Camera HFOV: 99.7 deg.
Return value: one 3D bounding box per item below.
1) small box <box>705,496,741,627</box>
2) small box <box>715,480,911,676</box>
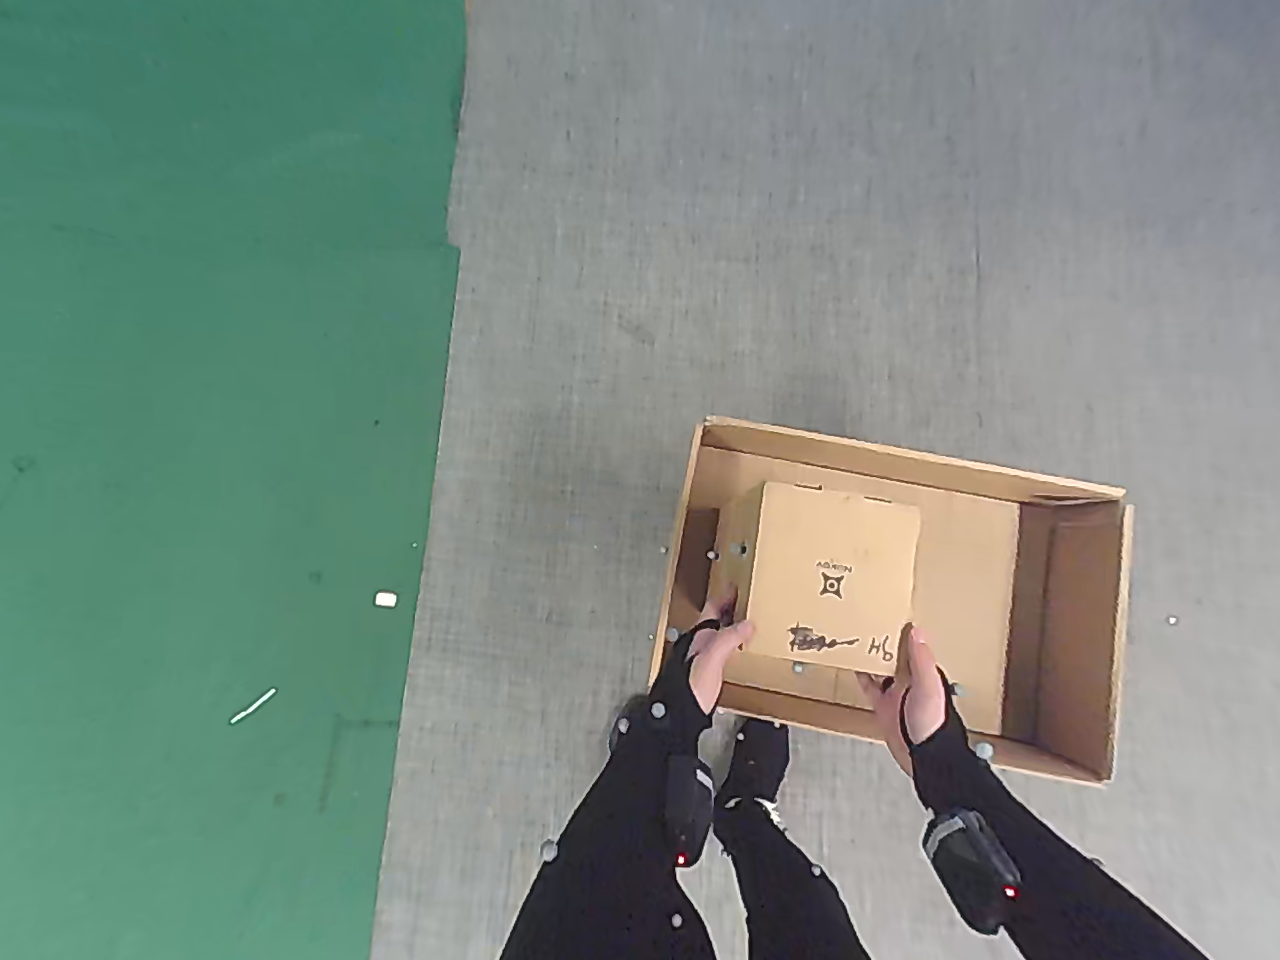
[{"bbox_3d":[0.191,0.129,0.793,0.168,0.176,0.179,9,83,3],"label":"small box"},{"bbox_3d":[0.186,0.109,0.624,0.168,0.176,0.179,9,81,1],"label":"small box"}]
